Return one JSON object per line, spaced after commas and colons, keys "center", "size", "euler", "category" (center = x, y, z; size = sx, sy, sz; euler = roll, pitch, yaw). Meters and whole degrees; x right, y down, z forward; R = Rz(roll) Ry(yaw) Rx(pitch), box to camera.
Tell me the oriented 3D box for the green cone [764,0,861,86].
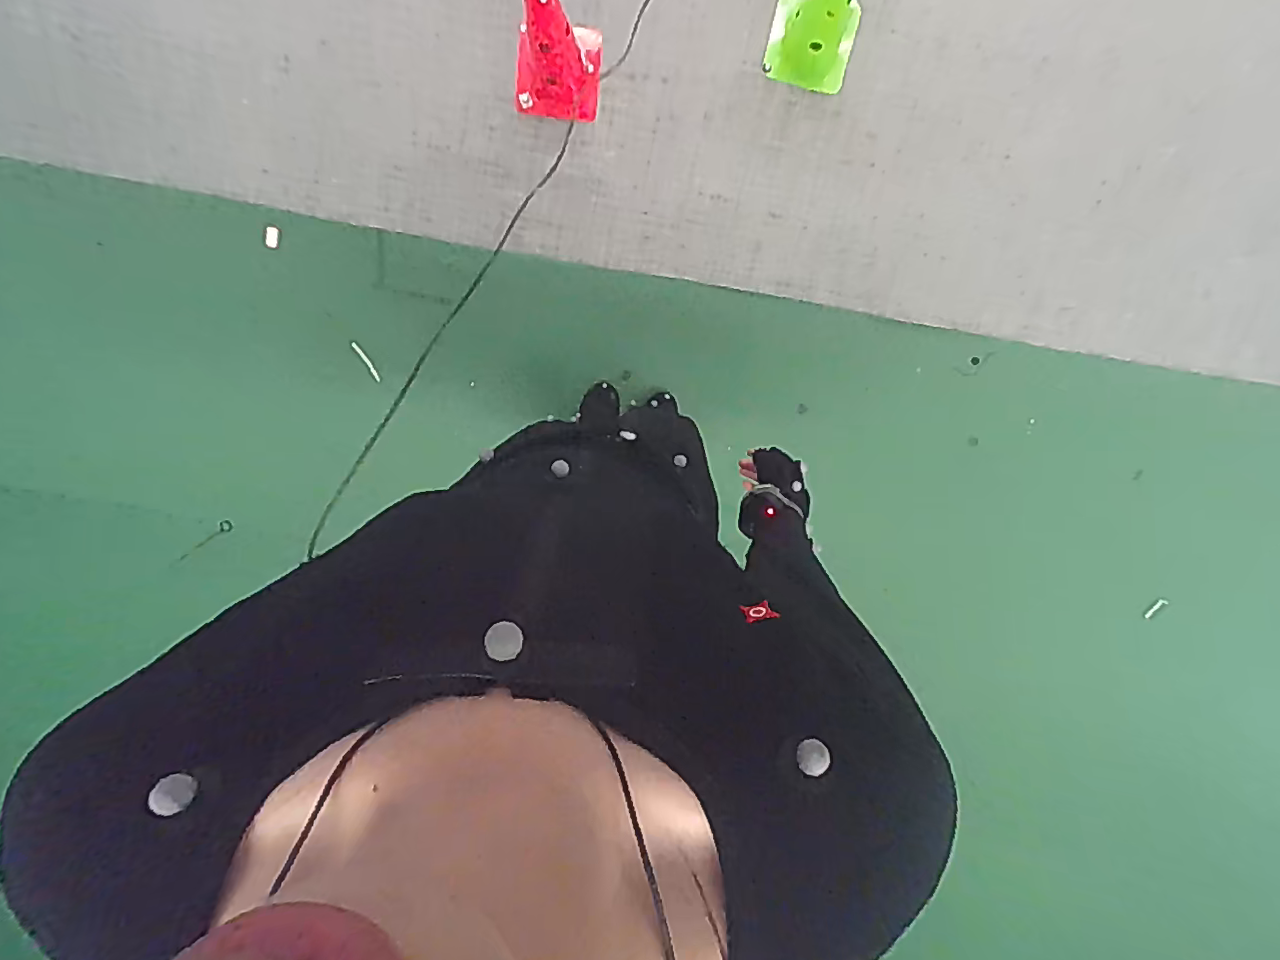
{"center": [0.414, -1.030, 1.119], "size": [0.200, 0.368, 0.202], "euler": [12, 101, -4], "category": "green cone"}
